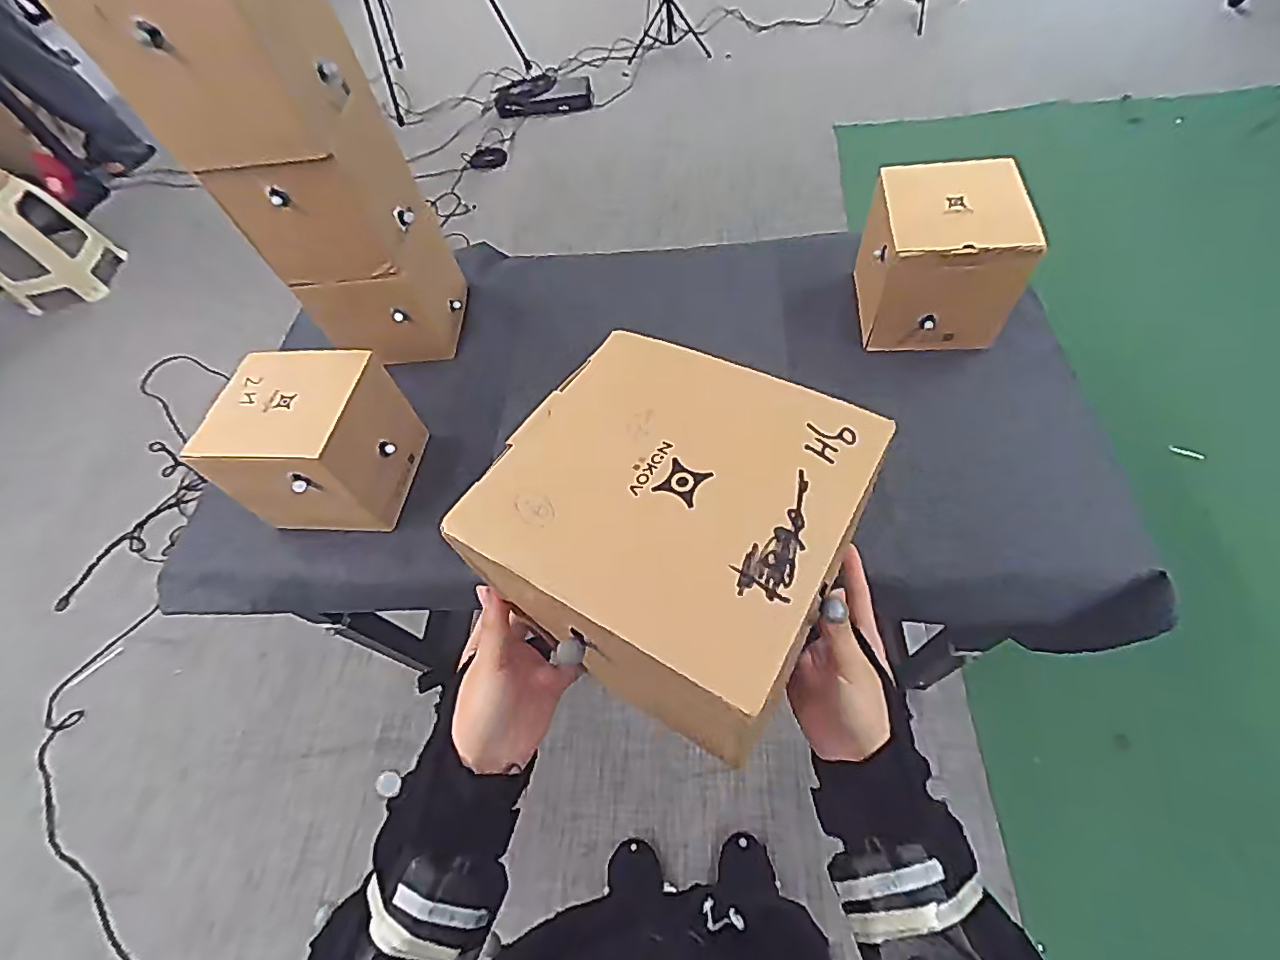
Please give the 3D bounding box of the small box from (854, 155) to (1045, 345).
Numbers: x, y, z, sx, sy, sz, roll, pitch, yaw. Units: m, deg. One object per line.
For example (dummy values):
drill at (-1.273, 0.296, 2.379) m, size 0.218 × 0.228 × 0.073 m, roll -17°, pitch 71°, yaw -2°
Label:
small box at (0.401, -0.307, 0.738) m, size 0.168 × 0.176 × 0.179 m, roll 1°, pitch 61°, yaw 9°

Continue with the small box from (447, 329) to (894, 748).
small box at (0.025, 0.040, 0.338) m, size 0.179 × 0.176 × 0.168 m, roll 24°, pitch 63°, yaw 23°

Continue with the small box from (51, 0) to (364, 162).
small box at (-0.432, -0.461, 0.565) m, size 0.179 × 0.176 × 0.168 m, roll -2°, pitch 61°, yaw 5°

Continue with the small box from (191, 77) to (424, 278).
small box at (-0.416, -0.388, 0.712) m, size 0.179 × 0.176 × 0.168 m, roll -4°, pitch 61°, yaw 4°

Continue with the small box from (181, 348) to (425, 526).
small box at (-0.409, -0.051, 0.696) m, size 0.179 × 0.176 × 0.168 m, roll 1°, pitch 57°, yaw 8°
